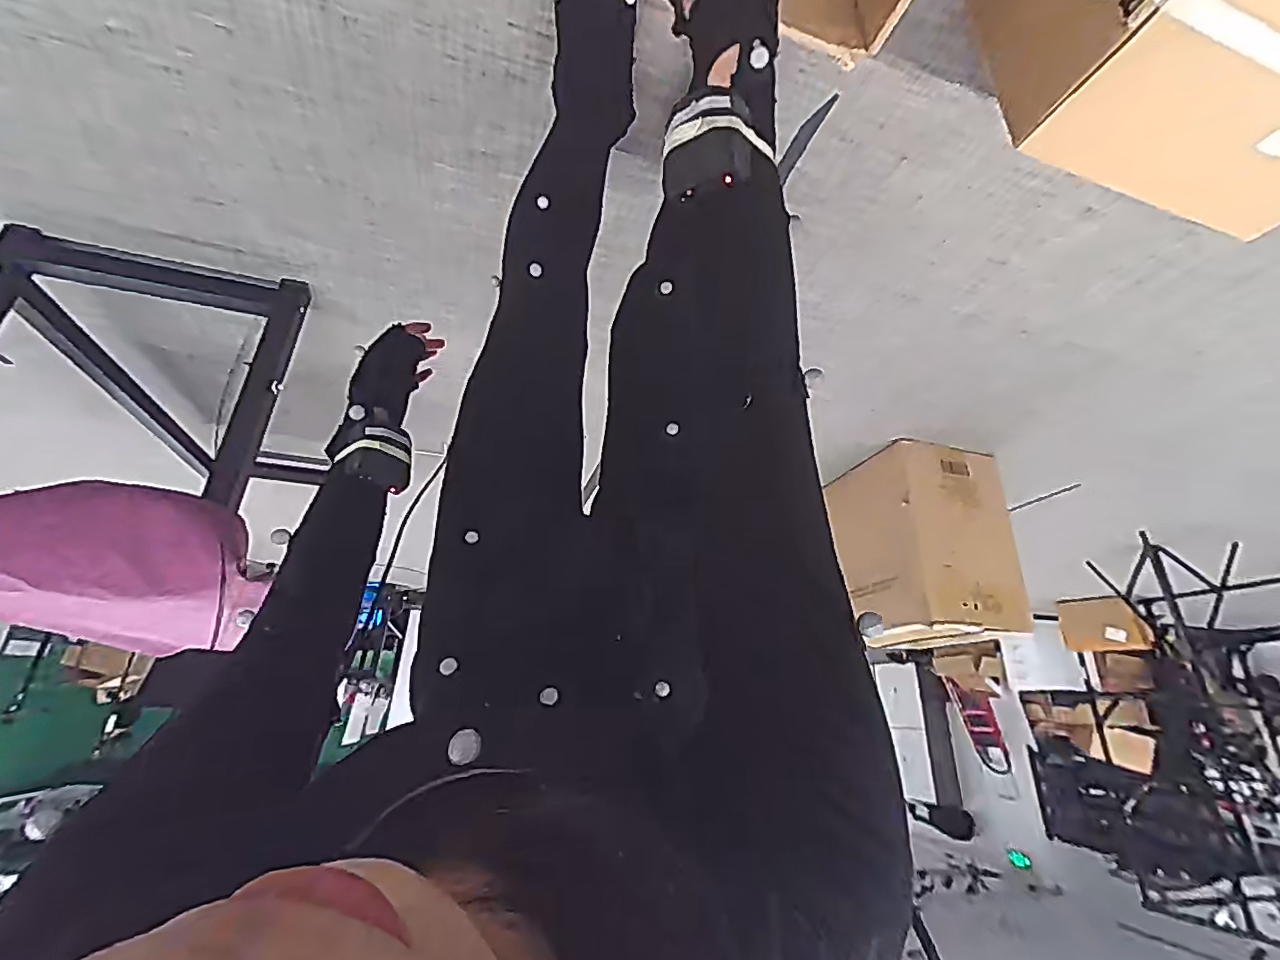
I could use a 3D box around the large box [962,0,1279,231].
[{"bbox_3d":[0.651,-0.539,0.574,0.408,0.320,0.320,8,157,-15],"label":"large box"}]
